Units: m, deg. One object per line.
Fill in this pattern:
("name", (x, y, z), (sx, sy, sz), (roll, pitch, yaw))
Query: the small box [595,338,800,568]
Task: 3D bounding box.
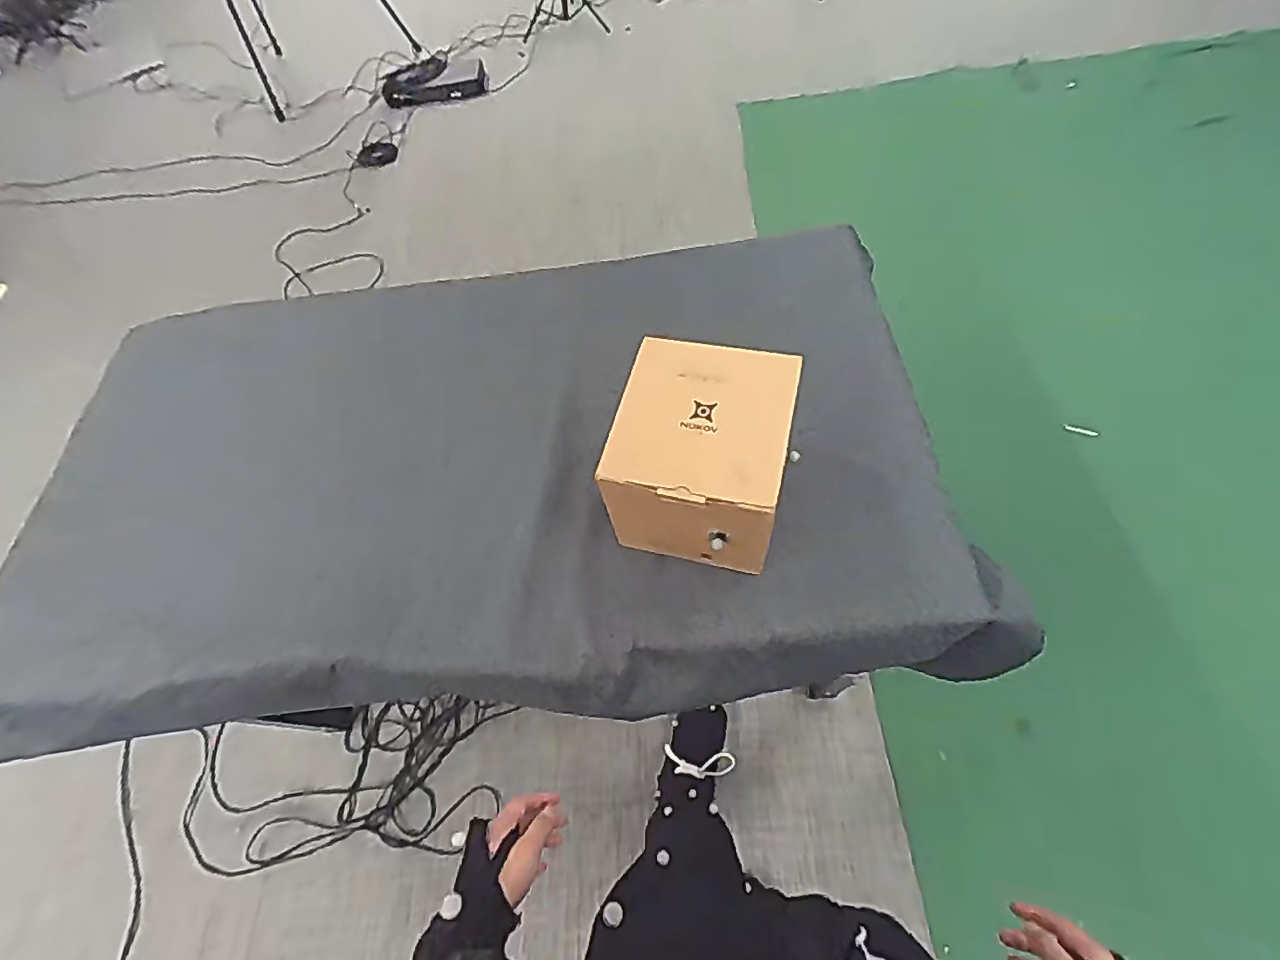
("small box", (0.067, -0.023, 0.582), (0.168, 0.176, 0.179), (11, 62, 13))
